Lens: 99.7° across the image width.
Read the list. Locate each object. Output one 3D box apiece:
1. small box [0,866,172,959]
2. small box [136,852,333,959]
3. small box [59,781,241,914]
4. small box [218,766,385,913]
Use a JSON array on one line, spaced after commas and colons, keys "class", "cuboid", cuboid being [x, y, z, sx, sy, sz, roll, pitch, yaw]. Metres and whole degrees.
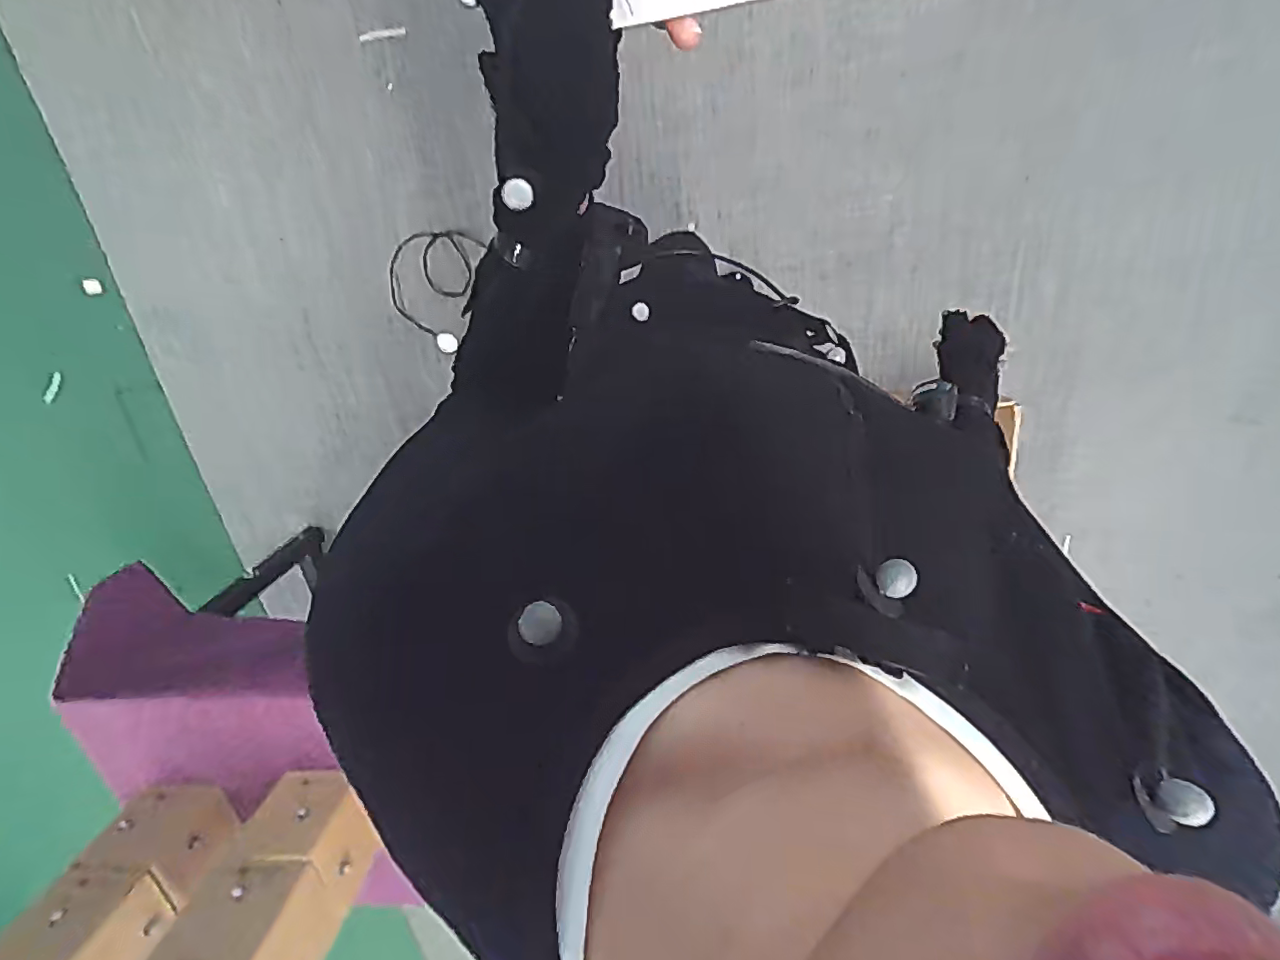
[{"class": "small box", "cuboid": [-0.923, 0.770, 0.885, 0.168, 0.176, 0.179, -2, 112, 6]}, {"class": "small box", "cuboid": [-0.617, 0.723, 0.843, 0.168, 0.176, 0.179, -2, 113, 5]}, {"class": "small box", "cuboid": [-0.917, 0.707, 1.036, 0.168, 0.176, 0.179, -2, 113, 5]}, {"class": "small box", "cuboid": [-0.604, 0.651, 0.991, 0.168, 0.176, 0.179, -5, 113, 6]}]
